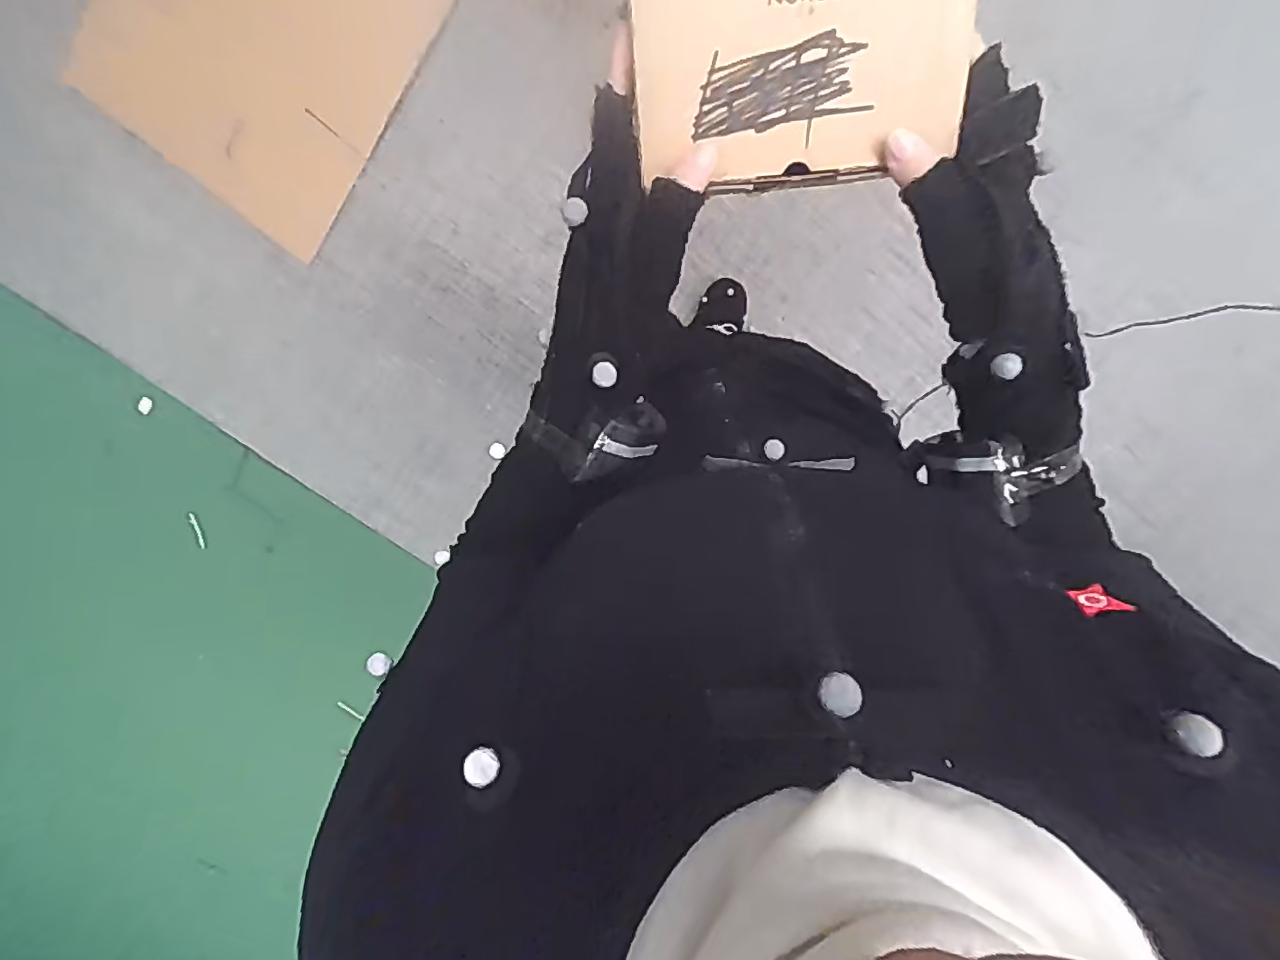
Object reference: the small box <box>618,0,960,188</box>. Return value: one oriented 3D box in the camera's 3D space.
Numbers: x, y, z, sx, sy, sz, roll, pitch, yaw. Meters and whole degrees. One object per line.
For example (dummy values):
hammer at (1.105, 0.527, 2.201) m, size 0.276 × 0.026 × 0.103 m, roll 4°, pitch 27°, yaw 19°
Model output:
small box at (0.072, -0.281, 0.325) m, size 0.168 × 0.176 × 0.179 m, roll -4°, pitch 114°, yaw 3°
